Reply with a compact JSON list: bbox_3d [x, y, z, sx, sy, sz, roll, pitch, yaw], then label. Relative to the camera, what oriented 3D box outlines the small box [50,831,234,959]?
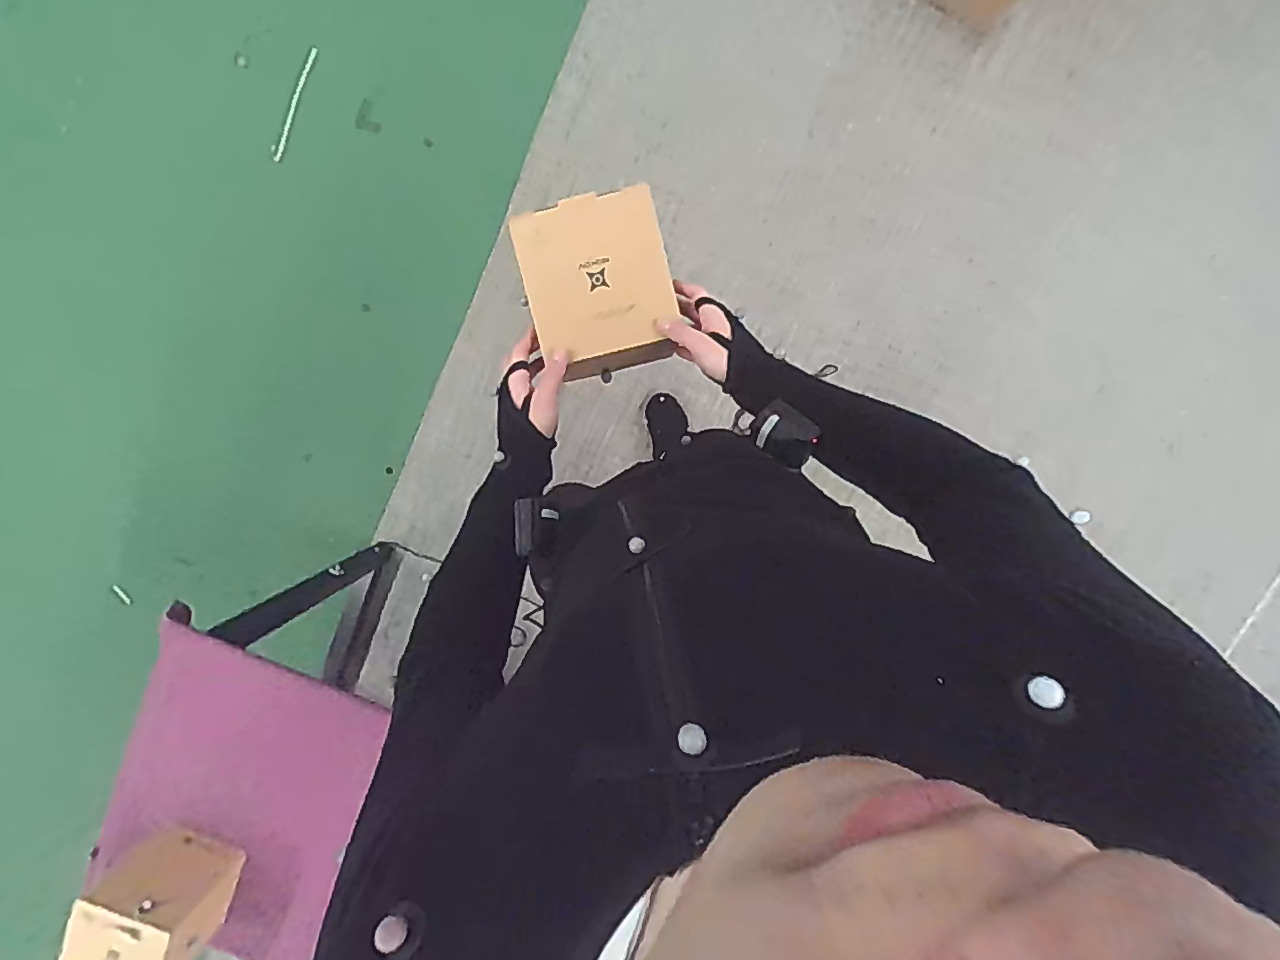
[{"bbox_3d":[-0.861,0.773,0.946,0.168,0.176,0.179,22,99,-2],"label":"small box"}]

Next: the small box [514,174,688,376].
[{"bbox_3d":[-0.046,-0.241,0.678,0.168,0.176,0.179,-13,94,0],"label":"small box"}]
